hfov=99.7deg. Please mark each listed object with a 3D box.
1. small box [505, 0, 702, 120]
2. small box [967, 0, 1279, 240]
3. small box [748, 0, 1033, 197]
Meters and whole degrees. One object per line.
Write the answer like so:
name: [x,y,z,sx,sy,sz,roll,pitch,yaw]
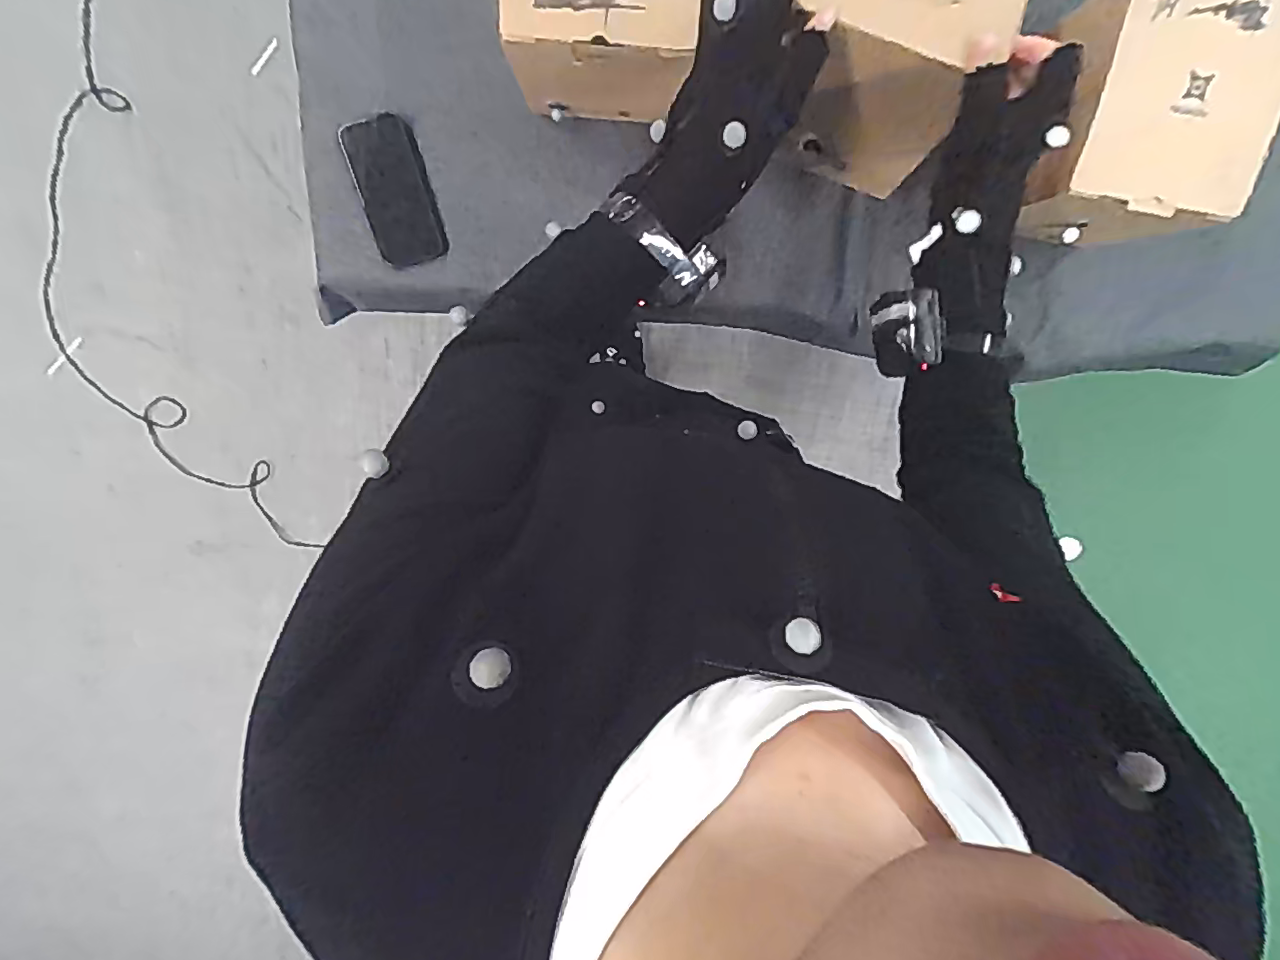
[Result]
small box: [-0.027,-0.467,0.507,0.168,0.176,0.179,3,105,-3]
small box: [0.476,-0.357,0.553,0.168,0.176,0.179,8,106,-5]
small box: [0.210,-0.394,0.472,0.168,0.176,0.179,18,88,-4]
